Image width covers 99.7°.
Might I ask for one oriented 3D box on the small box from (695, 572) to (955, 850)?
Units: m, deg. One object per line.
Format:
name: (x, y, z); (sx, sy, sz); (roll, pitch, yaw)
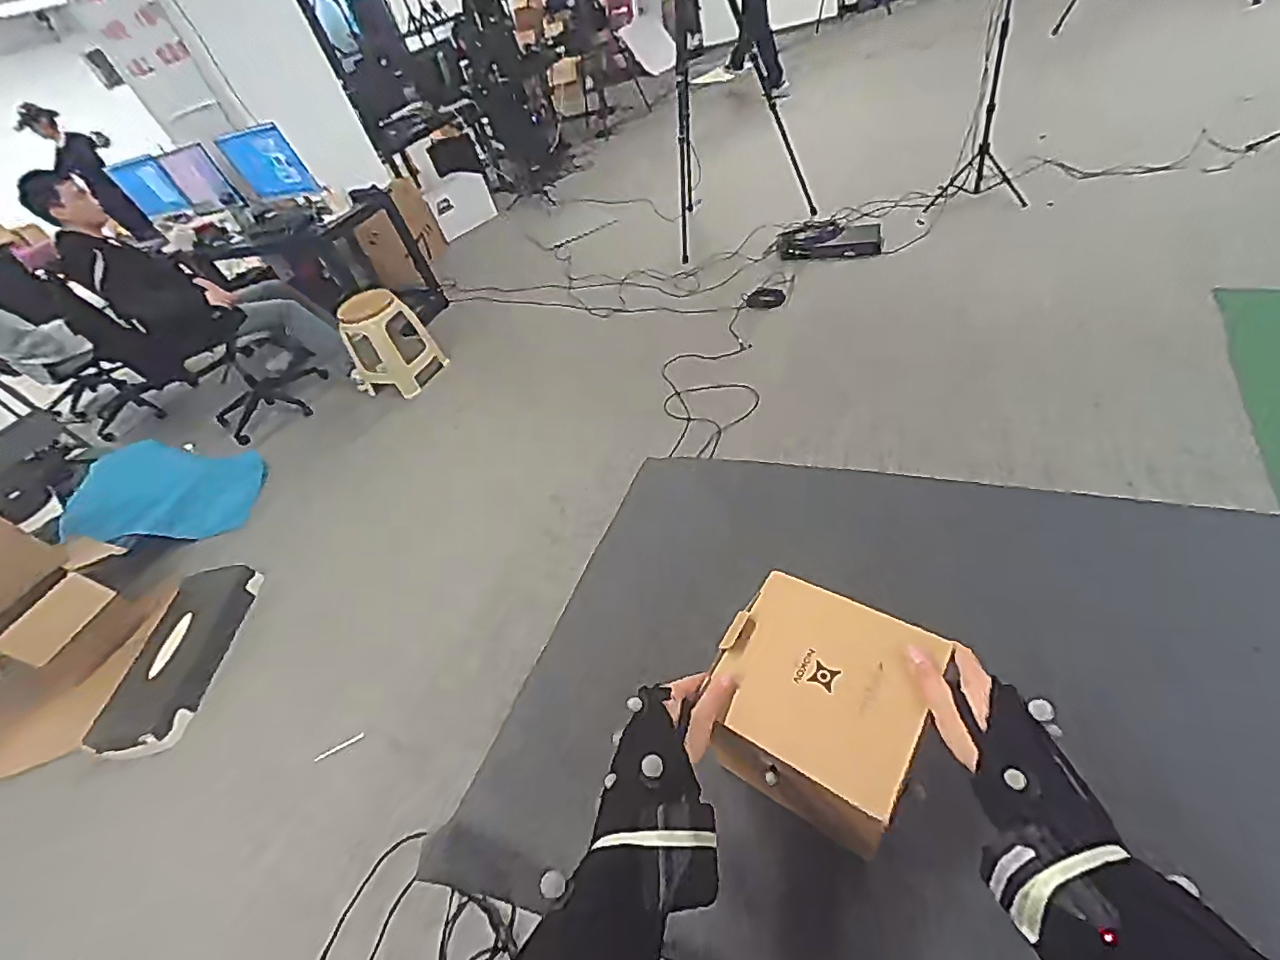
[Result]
small box: (0.181, 0.227, 0.536); (0.179, 0.176, 0.168); (20, 57, 33)
